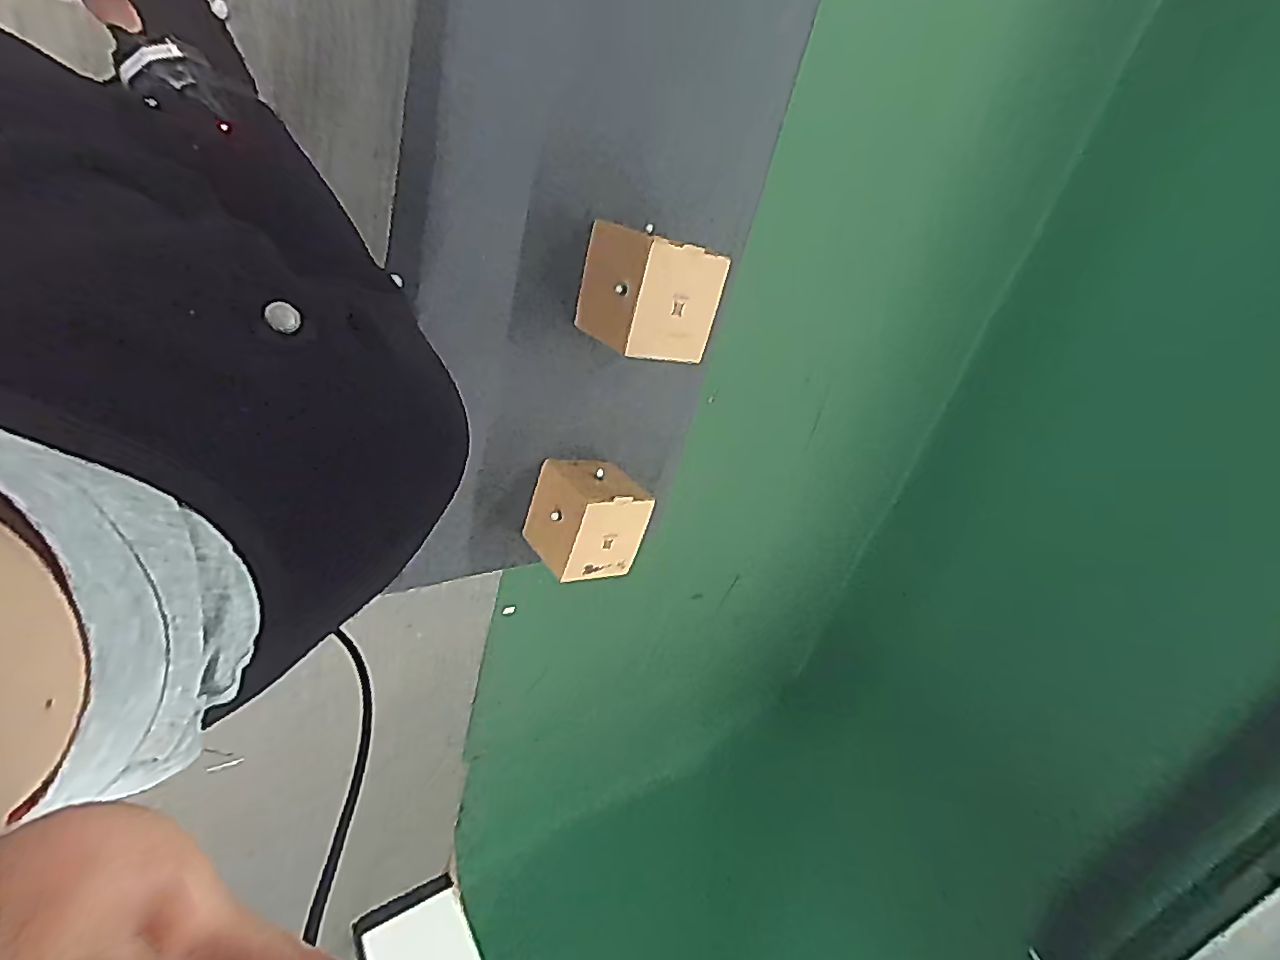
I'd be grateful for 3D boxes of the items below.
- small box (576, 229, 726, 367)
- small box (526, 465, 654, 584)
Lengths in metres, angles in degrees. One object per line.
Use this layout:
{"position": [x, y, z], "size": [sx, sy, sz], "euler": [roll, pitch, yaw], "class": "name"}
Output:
{"position": [0.010, -0.304, 0.907], "size": [0.168, 0.176, 0.179], "euler": [-5, 123, -37], "class": "small box"}
{"position": [-0.106, 0.081, 1.074], "size": [0.168, 0.176, 0.179], "euler": [2, 116, -41], "class": "small box"}
